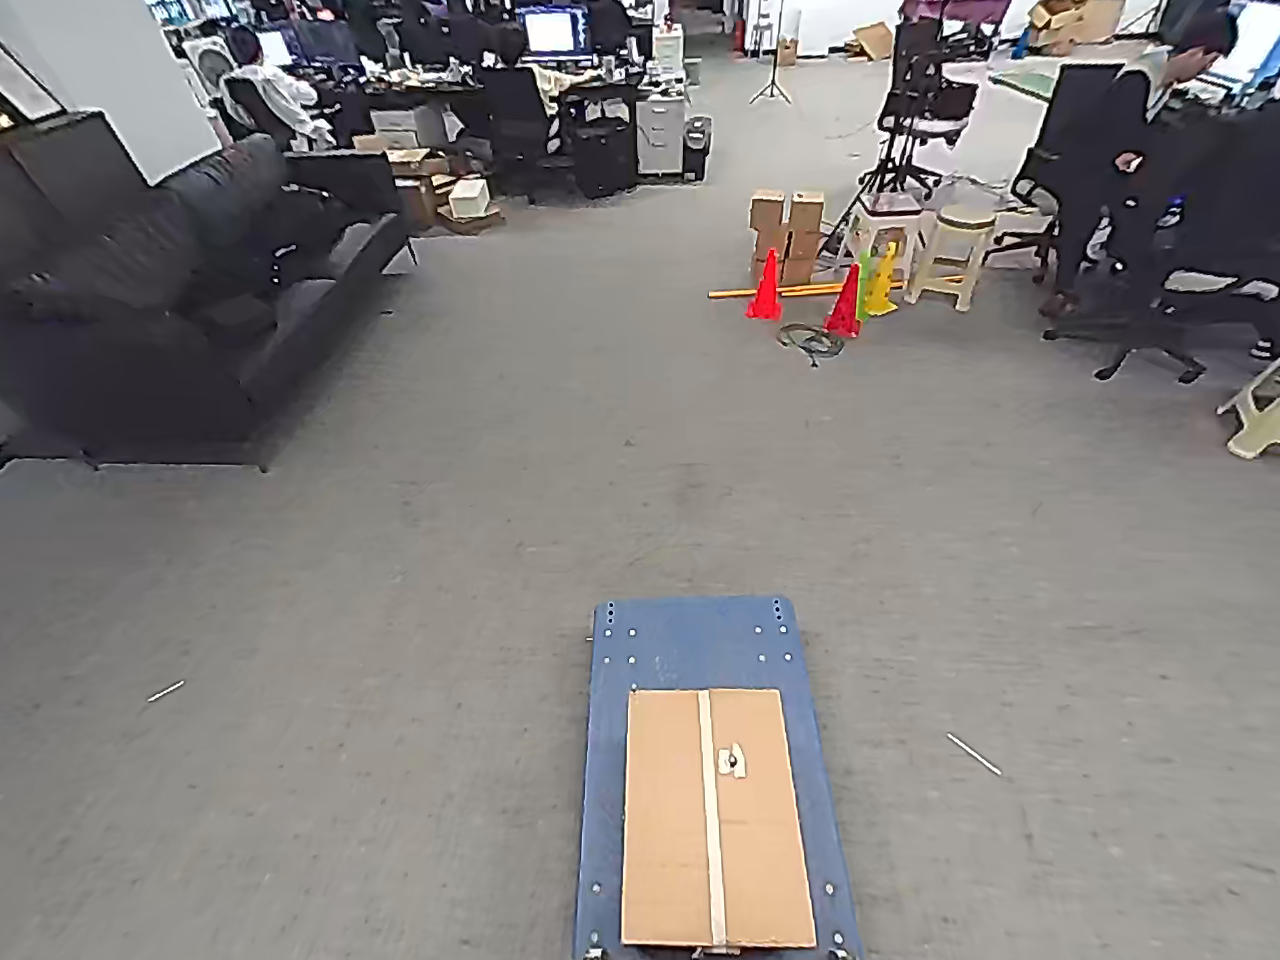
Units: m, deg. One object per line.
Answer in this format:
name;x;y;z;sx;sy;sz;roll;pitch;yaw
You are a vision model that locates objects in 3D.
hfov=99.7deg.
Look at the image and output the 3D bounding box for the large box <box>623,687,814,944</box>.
large box;0.137;0.686;1.112;0.320;0.320;0.408;-1;49;2
